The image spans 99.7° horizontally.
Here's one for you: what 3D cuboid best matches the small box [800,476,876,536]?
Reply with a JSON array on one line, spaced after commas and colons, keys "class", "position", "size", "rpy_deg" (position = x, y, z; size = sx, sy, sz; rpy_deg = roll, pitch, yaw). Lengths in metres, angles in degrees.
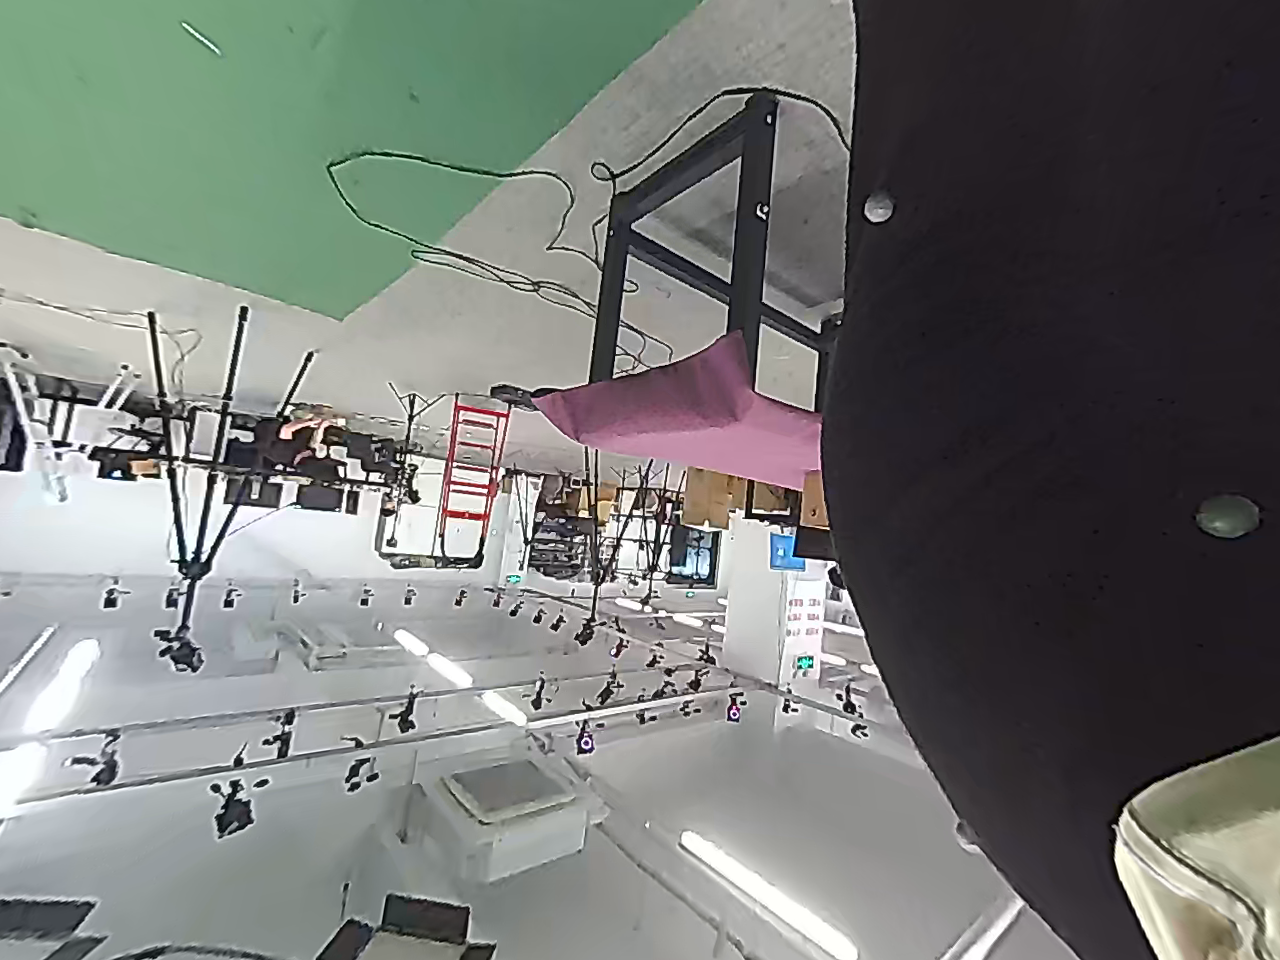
[{"class": "small box", "position": [0.644, 0.083, 1.749], "size": [0.168, 0.176, 0.179], "rpy_deg": [11, 173, -41]}]
